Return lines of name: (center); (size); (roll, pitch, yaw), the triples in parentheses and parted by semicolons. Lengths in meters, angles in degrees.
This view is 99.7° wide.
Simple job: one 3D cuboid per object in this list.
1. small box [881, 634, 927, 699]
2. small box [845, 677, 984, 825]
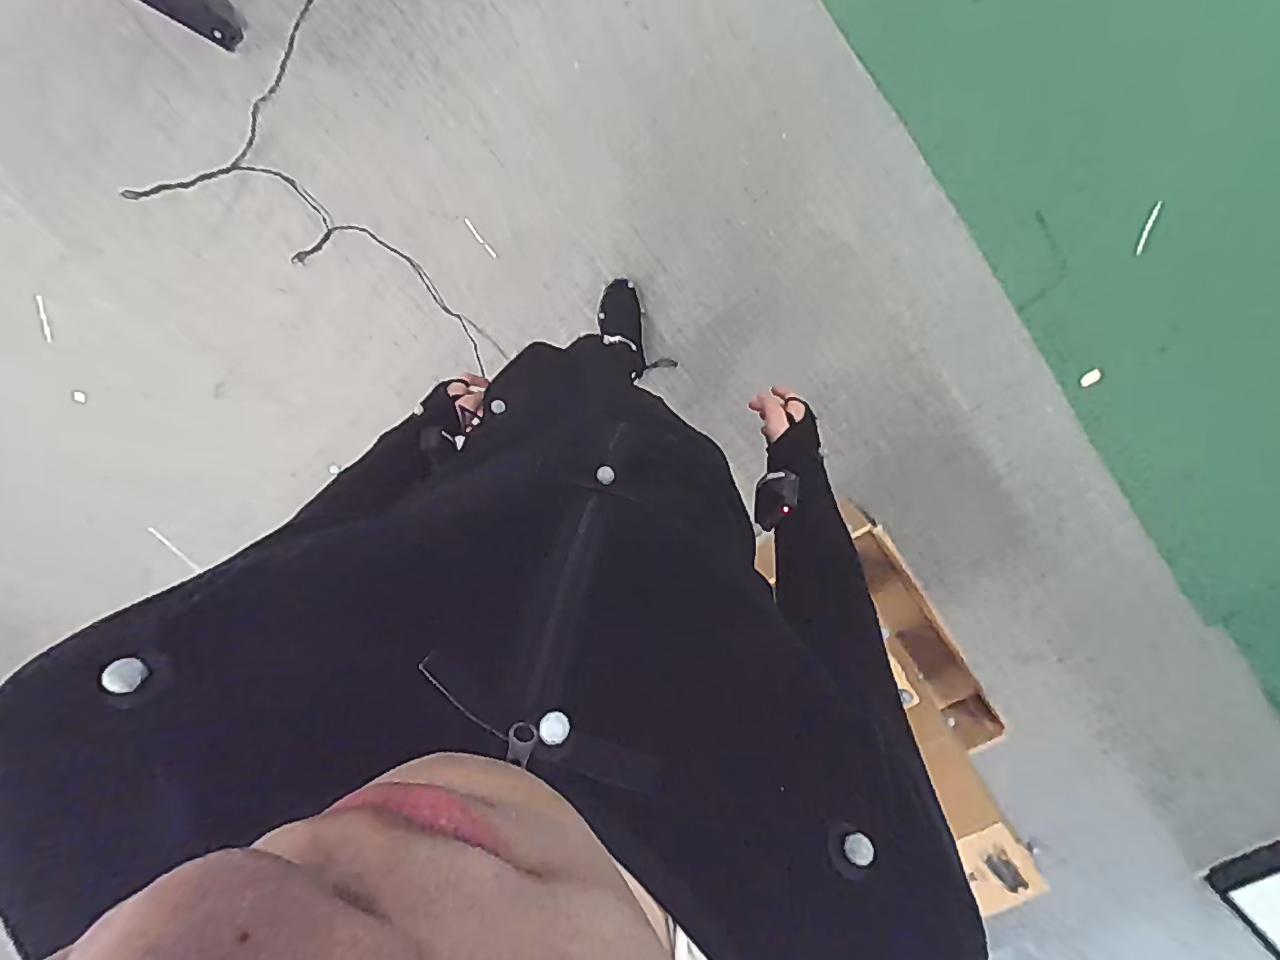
small box: (0.554, 0.497, 1.256); (0.179, 0.176, 0.168); (-34, 102, 13)
small box: (0.540, 0.543, 1.099); (0.179, 0.176, 0.168); (-36, 102, 13)
